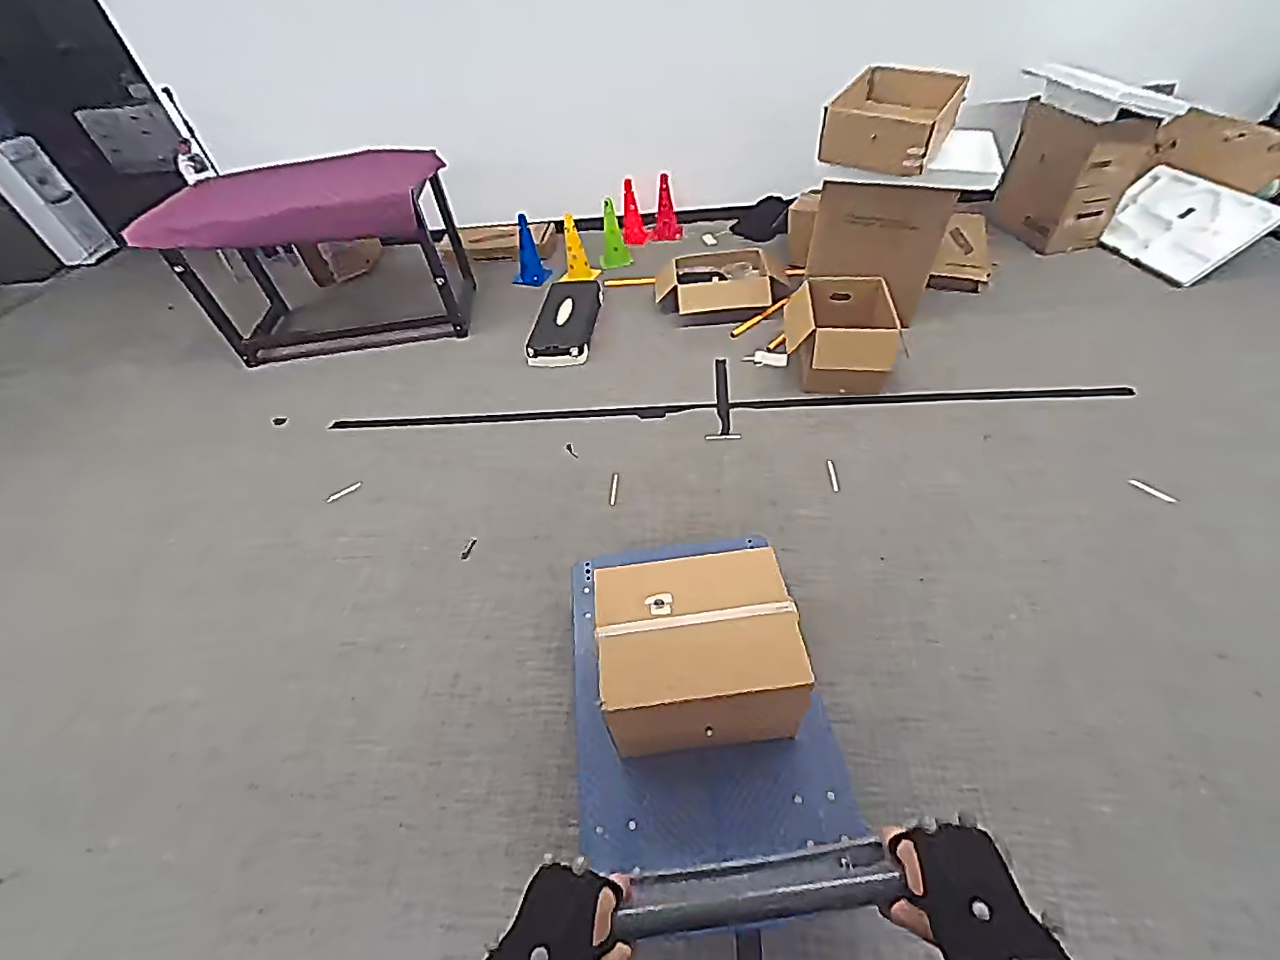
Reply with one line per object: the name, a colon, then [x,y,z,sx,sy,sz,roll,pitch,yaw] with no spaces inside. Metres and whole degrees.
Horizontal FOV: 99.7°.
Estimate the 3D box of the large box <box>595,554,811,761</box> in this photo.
large box: [0.129,0.408,1.229,0.408,0.320,0.320,-9,47,0]
